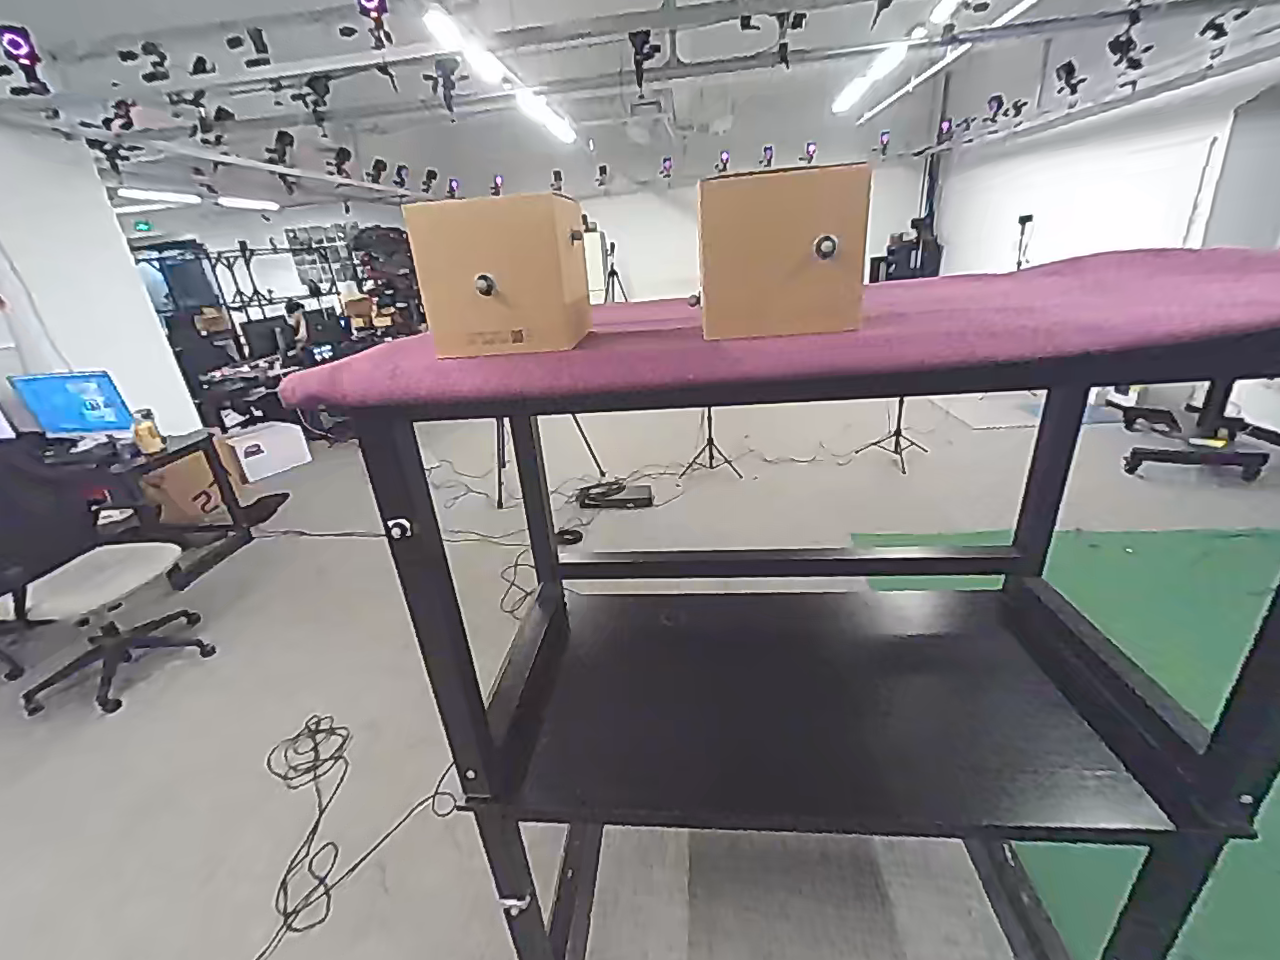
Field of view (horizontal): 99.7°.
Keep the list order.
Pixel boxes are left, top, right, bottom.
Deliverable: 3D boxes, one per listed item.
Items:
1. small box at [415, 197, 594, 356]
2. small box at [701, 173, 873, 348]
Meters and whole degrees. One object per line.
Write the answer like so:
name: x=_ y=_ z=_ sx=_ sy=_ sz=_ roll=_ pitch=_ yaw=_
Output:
small box: x=-0.155 y=-0.254 z=0.690 sx=0.168 sy=0.176 sz=0.179 roll=-1 pitch=23 yaw=5
small box: x=0.165 y=-0.263 z=0.662 sx=0.179 sy=0.176 sz=0.168 roll=-3 pitch=22 yaw=6
